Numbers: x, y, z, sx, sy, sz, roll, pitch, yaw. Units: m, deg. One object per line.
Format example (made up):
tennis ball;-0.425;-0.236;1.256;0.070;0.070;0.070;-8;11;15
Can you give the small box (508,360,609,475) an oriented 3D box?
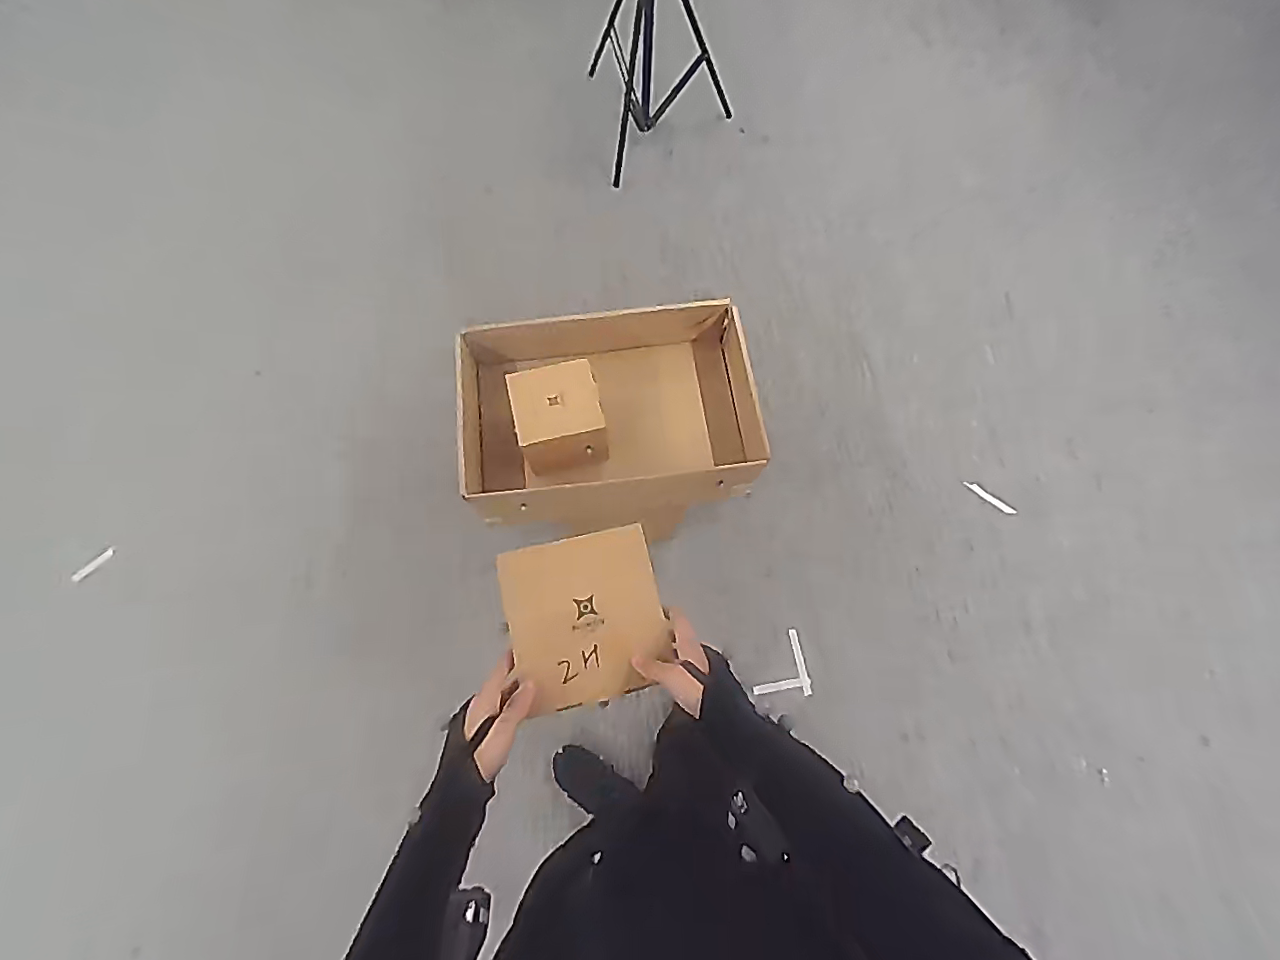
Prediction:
small box;-0.167;-0.128;1.148;0.179;0.176;0.168;-14;70;-6

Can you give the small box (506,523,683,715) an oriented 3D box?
small box;-0.060;0.168;0.657;0.168;0.176;0.179;-12;75;-9
